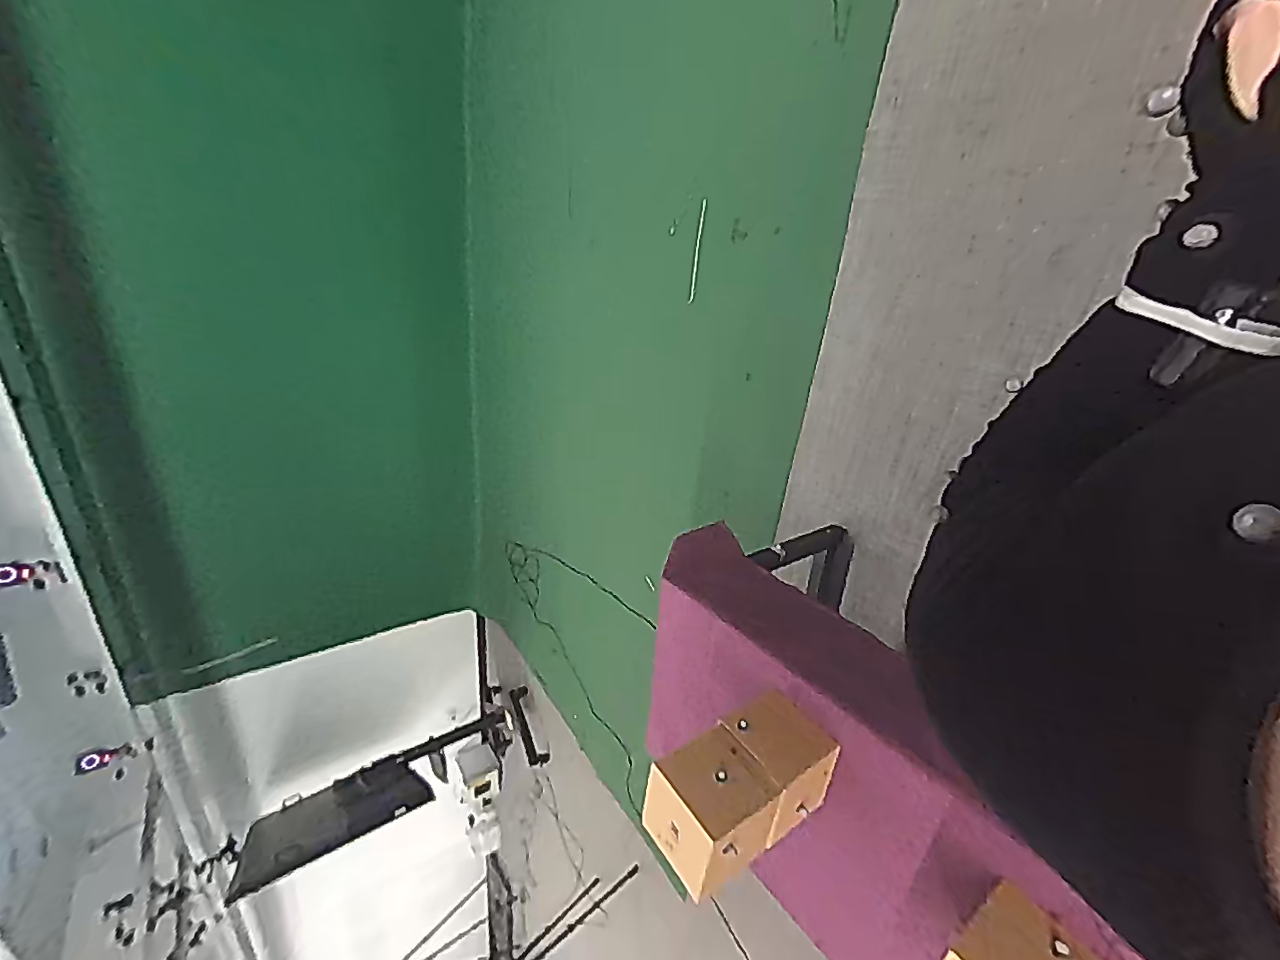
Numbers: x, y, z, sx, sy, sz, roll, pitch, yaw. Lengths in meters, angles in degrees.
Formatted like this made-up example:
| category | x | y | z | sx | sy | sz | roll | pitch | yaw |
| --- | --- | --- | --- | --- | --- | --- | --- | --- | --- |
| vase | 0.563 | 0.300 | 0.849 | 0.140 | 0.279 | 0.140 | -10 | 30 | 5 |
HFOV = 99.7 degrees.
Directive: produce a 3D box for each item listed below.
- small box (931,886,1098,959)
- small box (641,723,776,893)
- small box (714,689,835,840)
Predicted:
| category | x | y | z | sx | sy | sz | roll | pitch | yaw |
| --- | --- | --- | --- | --- | --- | --- | --- | --- | --- |
| small box | 0.519 | 0.711 | 0.744 | 0.179 | 0.176 | 0.168 | 33 | 126 | 47 |
| small box | 0.124 | 0.586 | 0.989 | 0.168 | 0.176 | 0.179 | 37 | 128 | 45 |
| small box | 0.258 | 0.554 | 1.079 | 0.179 | 0.176 | 0.168 | 34 | 126 | 47 |
